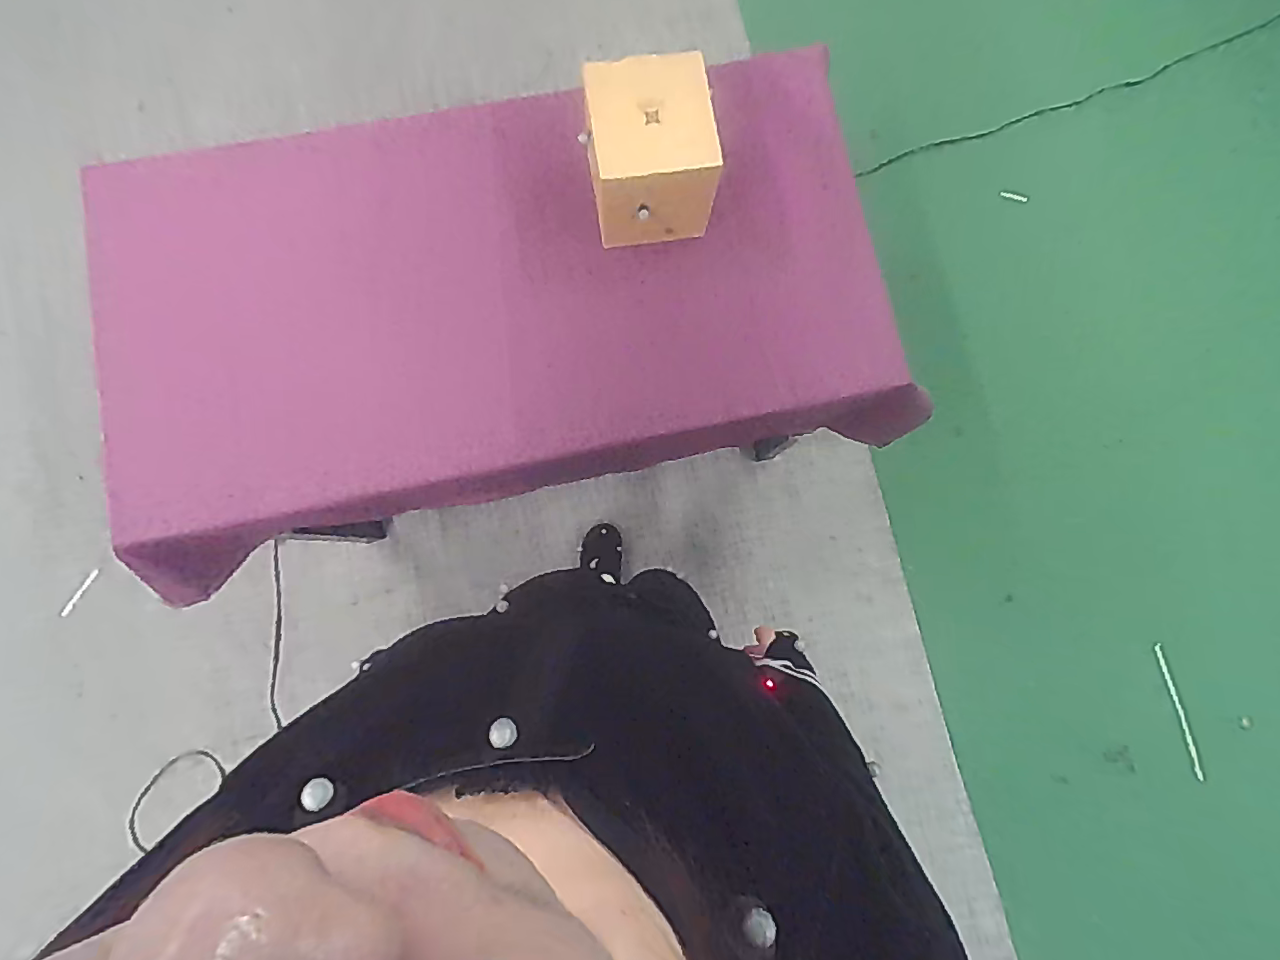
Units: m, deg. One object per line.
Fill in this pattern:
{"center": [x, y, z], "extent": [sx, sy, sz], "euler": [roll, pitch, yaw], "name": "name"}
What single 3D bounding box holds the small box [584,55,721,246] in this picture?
{"center": [0.016, -0.467, 0.796], "extent": [0.168, 0.176, 0.179], "euler": [-8, 82, -2], "name": "small box"}
